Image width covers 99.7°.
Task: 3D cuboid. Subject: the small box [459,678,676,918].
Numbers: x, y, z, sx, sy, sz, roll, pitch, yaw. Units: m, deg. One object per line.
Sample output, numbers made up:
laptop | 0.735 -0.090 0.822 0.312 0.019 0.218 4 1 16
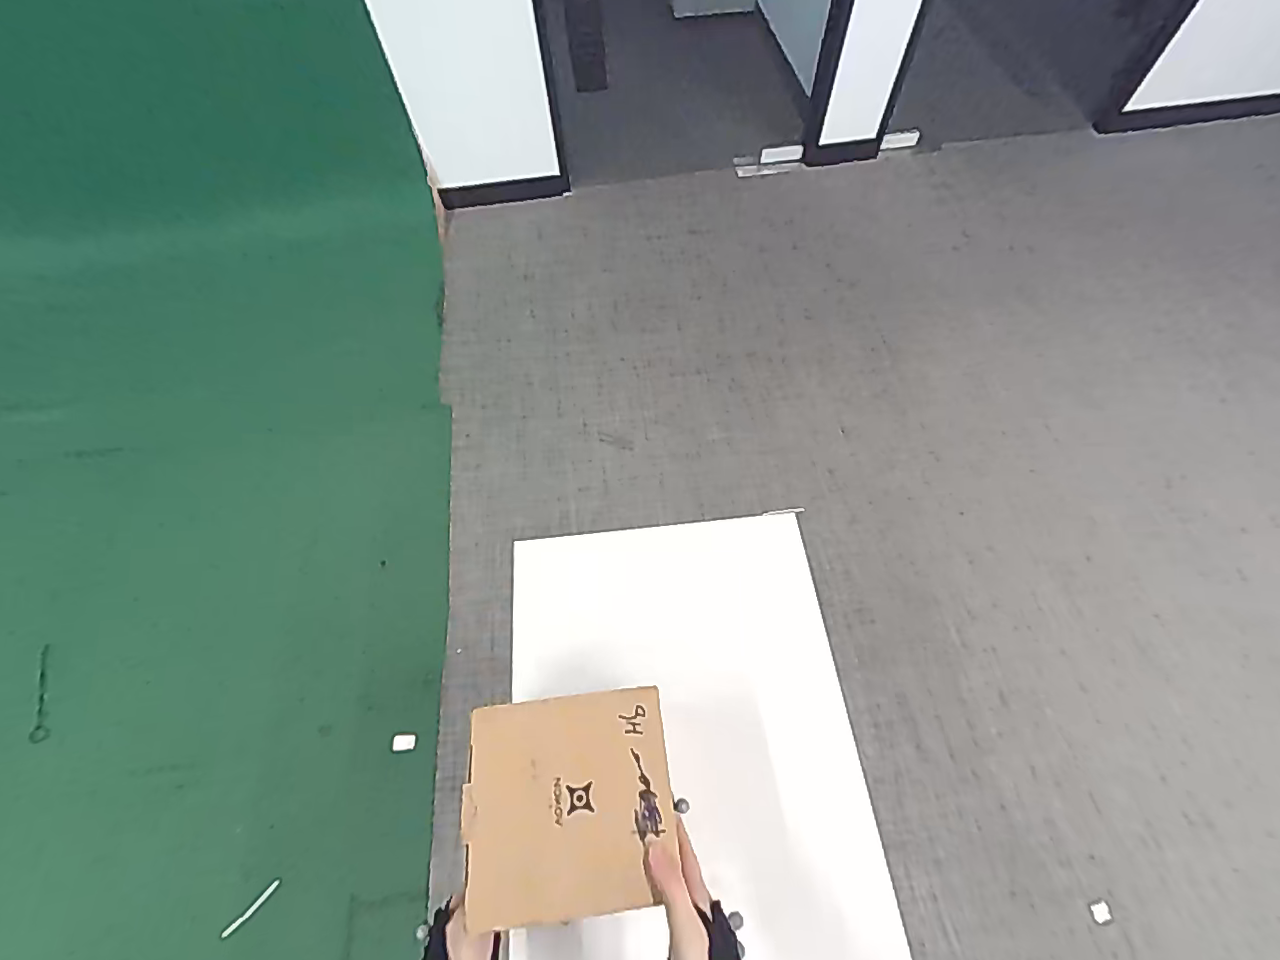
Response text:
small box | -0.062 0.302 0.532 0.179 0.176 0.168 -6 62 -2
